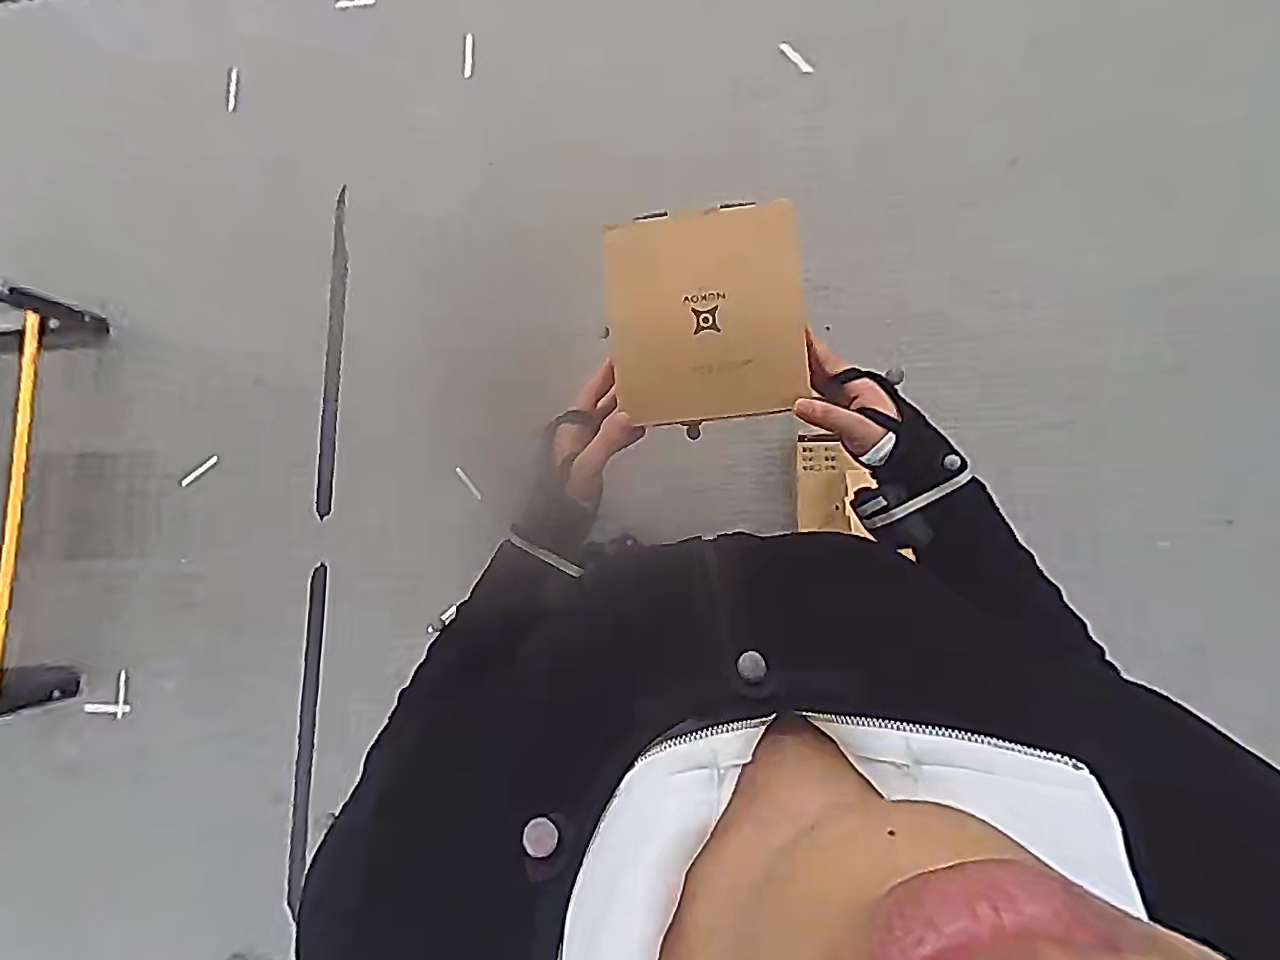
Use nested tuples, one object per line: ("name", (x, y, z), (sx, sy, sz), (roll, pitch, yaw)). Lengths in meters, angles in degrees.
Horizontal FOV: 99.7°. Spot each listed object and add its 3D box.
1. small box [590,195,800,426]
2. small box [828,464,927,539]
("small box", (0.049, -0.149, 0.534), (0.168, 0.176, 0.179), (-7, 95, 3))
("small box", (0.554, 0.056, 1.287), (0.179, 0.176, 0.168), (-3, 85, 6))
